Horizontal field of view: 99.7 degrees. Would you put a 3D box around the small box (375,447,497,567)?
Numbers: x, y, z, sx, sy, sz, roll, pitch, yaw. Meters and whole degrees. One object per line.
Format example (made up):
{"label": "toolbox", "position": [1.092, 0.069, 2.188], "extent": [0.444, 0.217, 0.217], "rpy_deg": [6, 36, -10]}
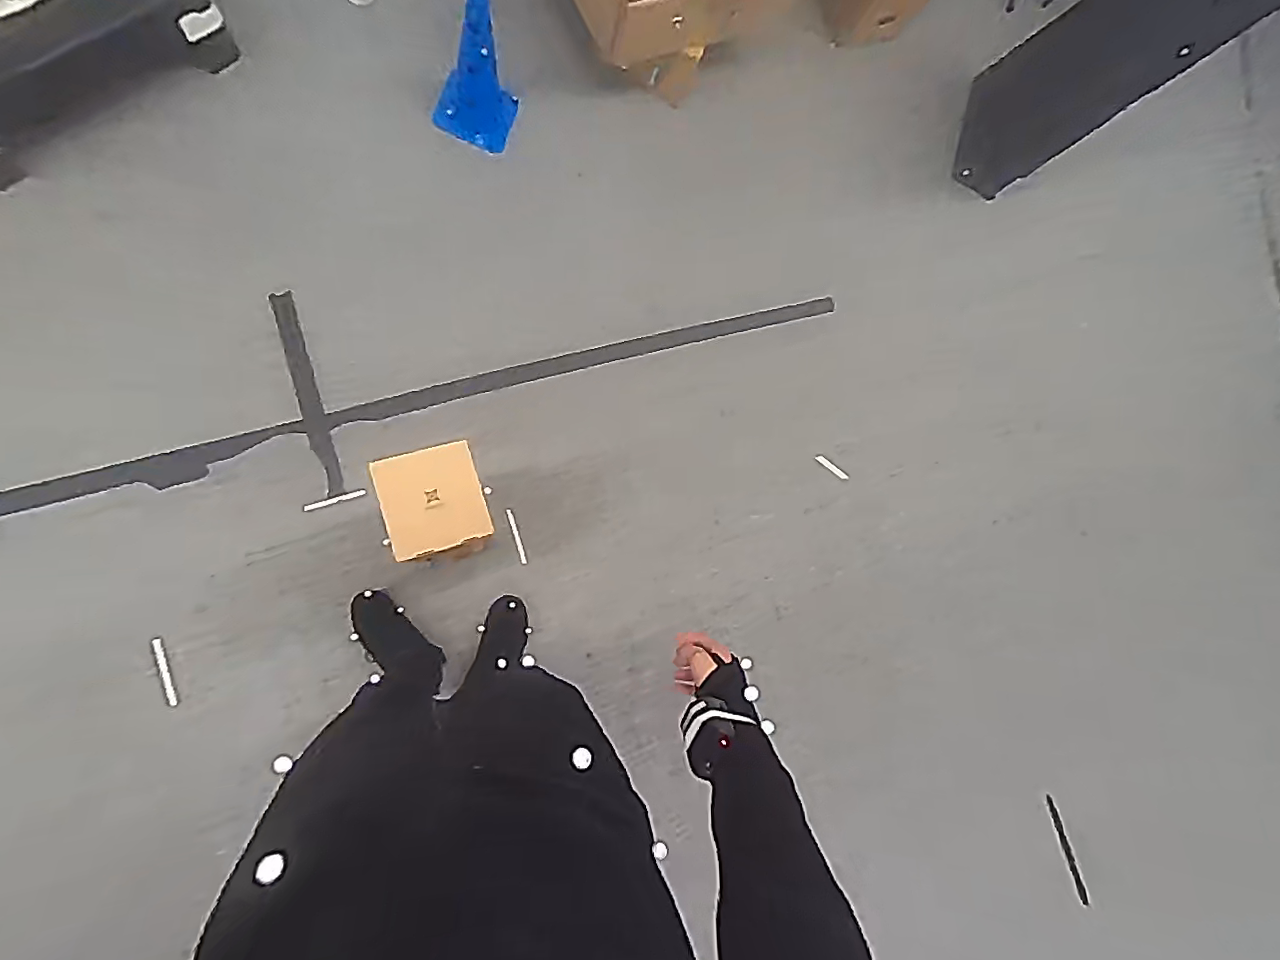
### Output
{"label": "small box", "position": [-0.373, 0.055, 1.001], "extent": [0.168, 0.176, 0.179], "rpy_deg": [-16, 88, -19]}
